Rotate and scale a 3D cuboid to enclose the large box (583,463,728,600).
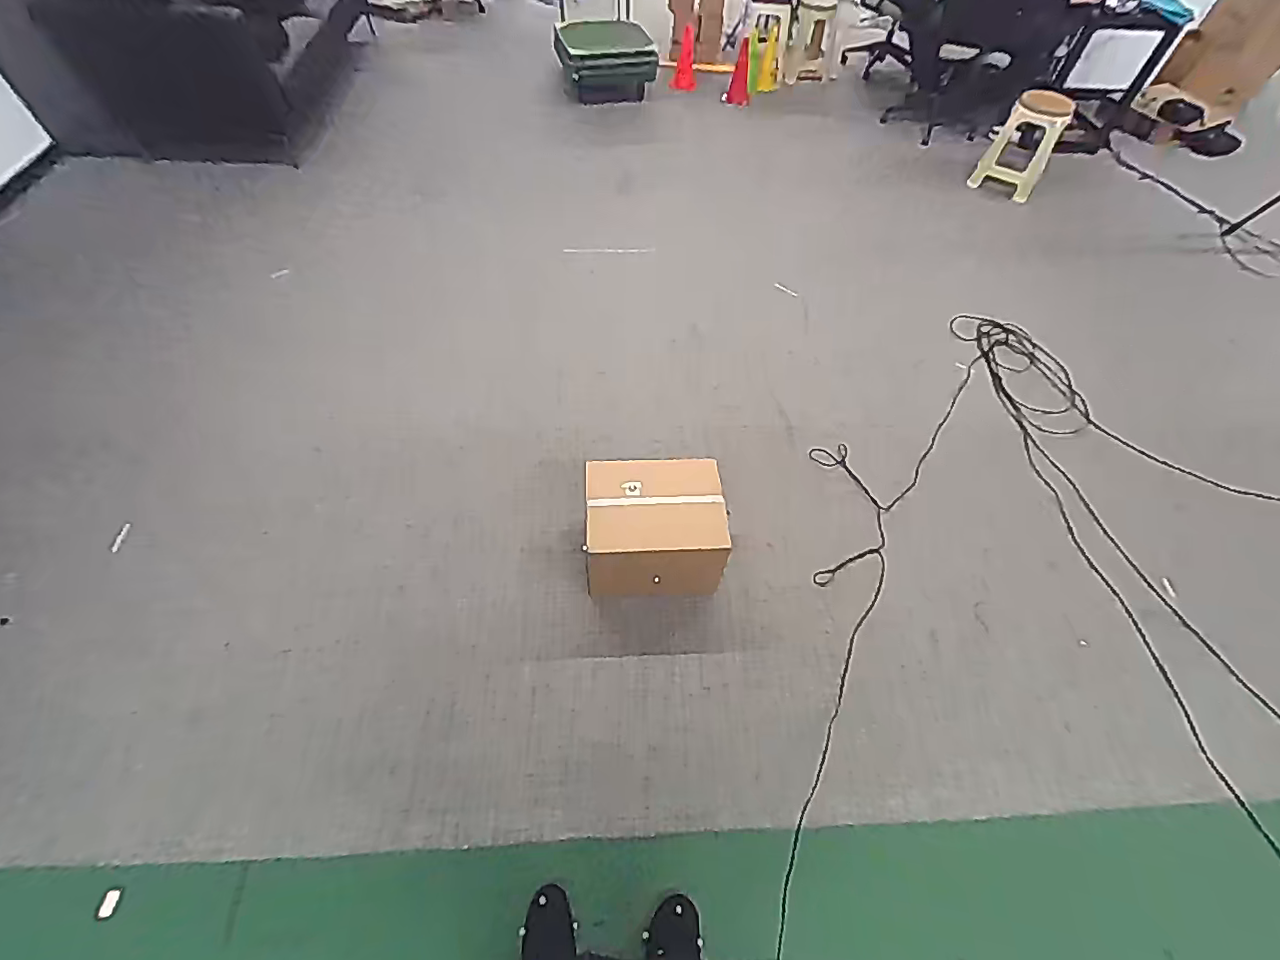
[{"bbox_3d":[0.033,0.167,1.703,0.408,0.320,0.320,-3,54,-4],"label":"large box"}]
